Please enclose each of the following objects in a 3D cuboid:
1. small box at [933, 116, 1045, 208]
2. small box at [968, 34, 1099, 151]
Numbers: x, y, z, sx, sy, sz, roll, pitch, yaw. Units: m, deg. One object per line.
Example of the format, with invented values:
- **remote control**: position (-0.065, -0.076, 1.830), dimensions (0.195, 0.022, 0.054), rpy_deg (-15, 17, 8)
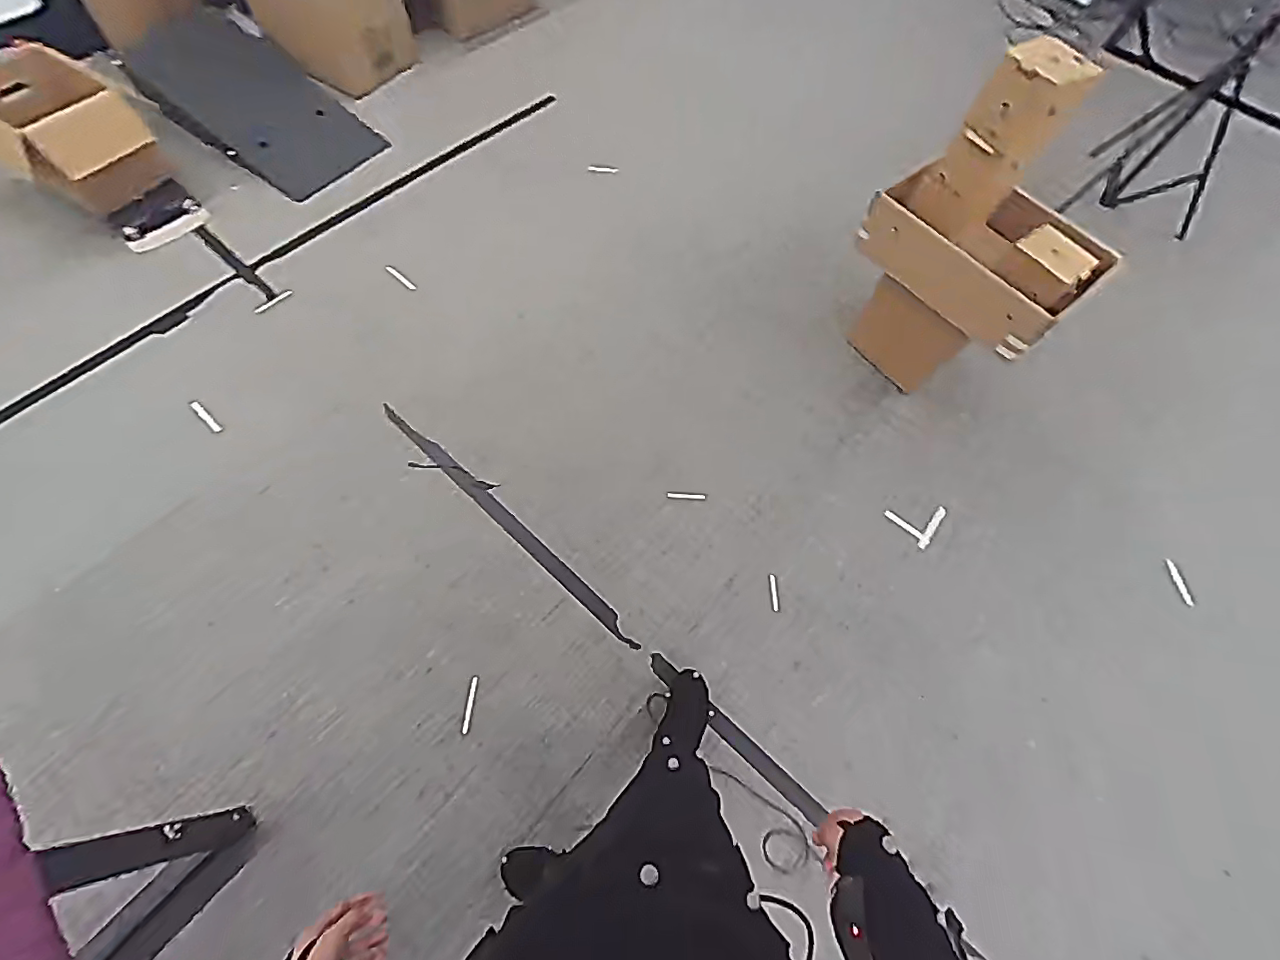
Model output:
- **small box**: position (0.950, -0.889, 1.493), dimensions (0.179, 0.176, 0.168), rpy_deg (-28, 70, -17)
- **small box**: position (0.959, -0.956, 1.343), dimensions (0.179, 0.176, 0.168), rpy_deg (-25, 69, -15)
